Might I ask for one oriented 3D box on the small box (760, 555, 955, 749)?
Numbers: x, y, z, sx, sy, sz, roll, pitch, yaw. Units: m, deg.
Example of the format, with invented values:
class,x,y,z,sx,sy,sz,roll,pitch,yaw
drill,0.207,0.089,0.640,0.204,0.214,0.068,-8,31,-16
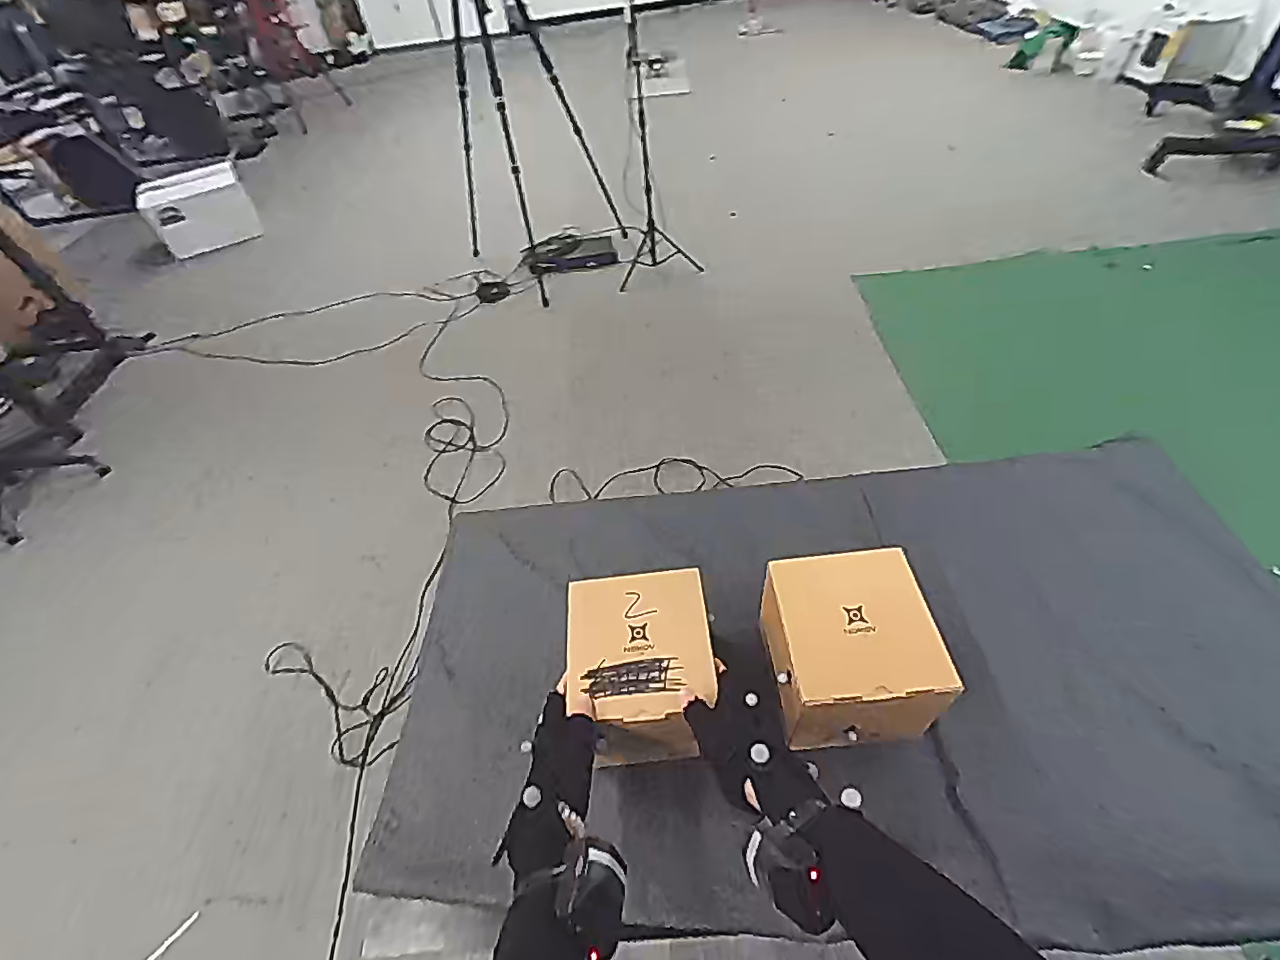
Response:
class,x,y,z,sx,sy,sz,roll,pitch,yaw
small box,0.252,0.218,0.682,0.168,0.176,0.179,-6,50,2
